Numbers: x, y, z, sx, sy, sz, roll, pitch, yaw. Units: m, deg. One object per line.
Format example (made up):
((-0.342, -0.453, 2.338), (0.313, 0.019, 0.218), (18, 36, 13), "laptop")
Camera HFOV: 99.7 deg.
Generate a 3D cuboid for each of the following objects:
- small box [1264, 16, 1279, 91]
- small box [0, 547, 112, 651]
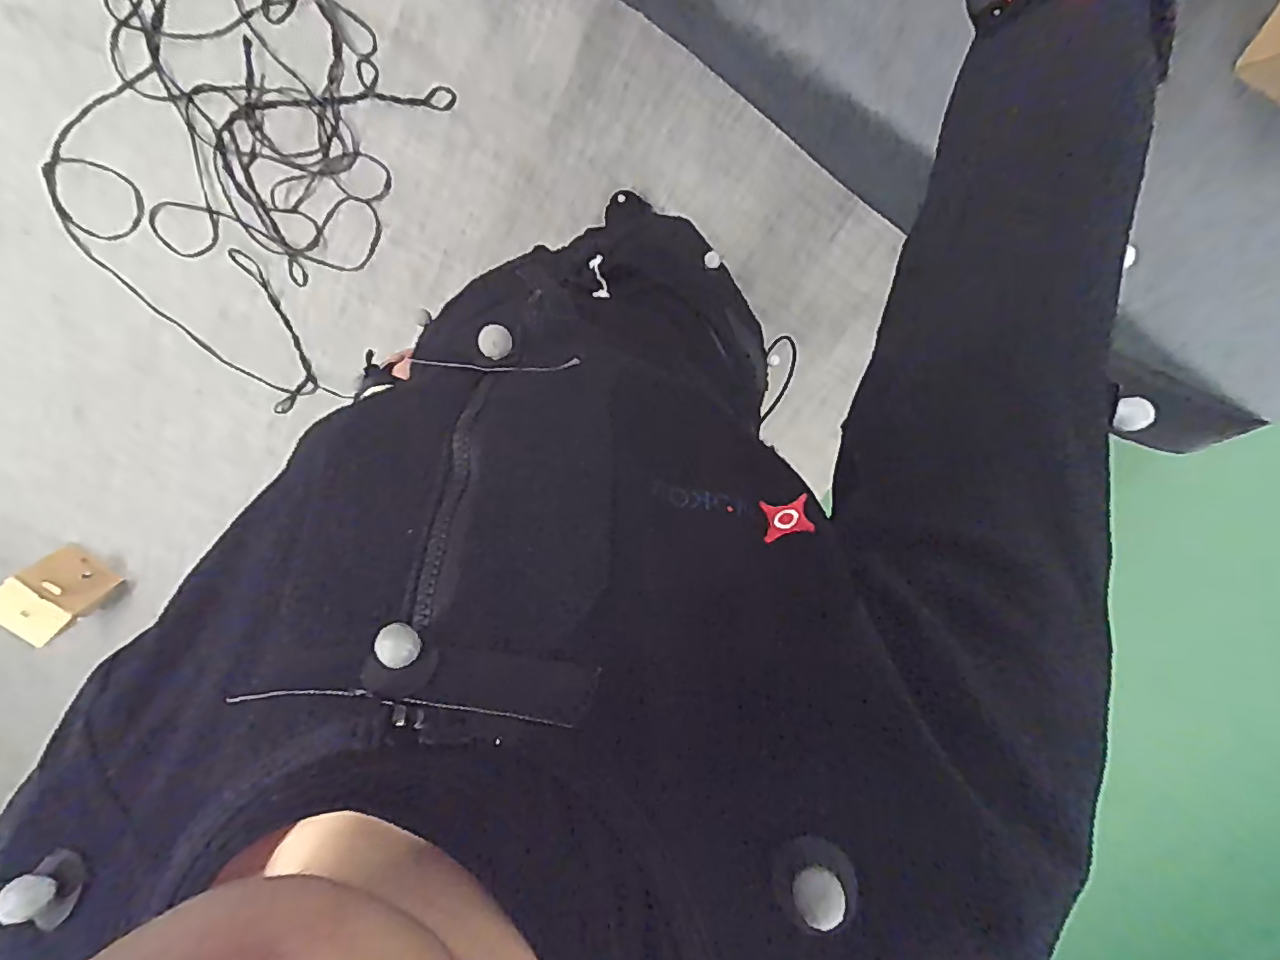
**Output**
((0.611, -0.352, 0.367), (0.168, 0.176, 0.179), (21, 112, -11), "small box")
((-1.603, 0.316, 1.458), (0.179, 0.176, 0.168), (-36, 110, 15), "small box")
